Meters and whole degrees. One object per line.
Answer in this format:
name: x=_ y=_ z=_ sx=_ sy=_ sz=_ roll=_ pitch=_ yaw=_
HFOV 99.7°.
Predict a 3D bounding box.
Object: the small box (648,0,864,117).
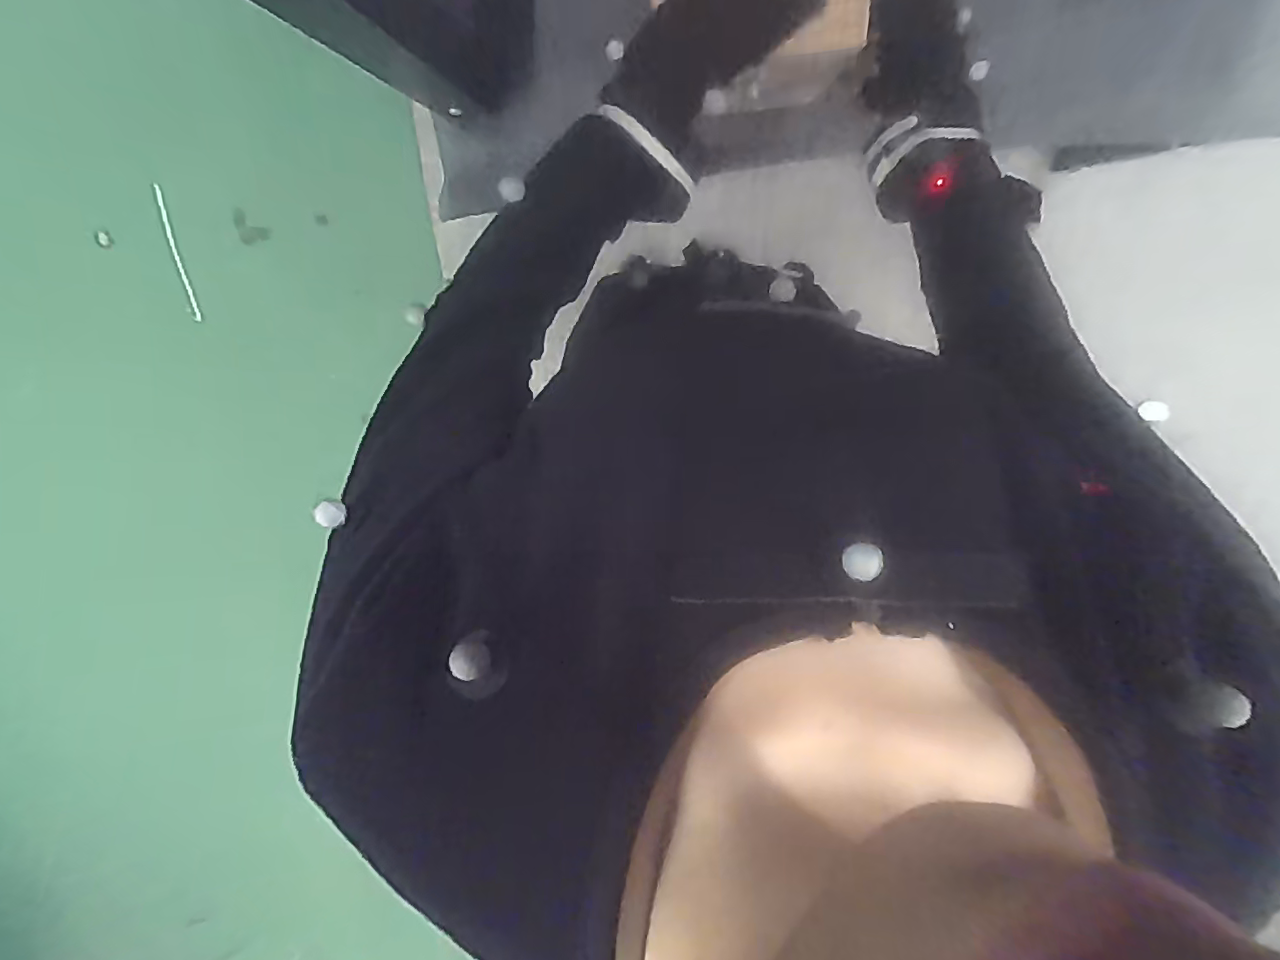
small box: x=0.090 y=-0.449 z=0.473 sx=0.168 sy=0.176 sz=0.179 roll=-4 pitch=111 yaw=3
